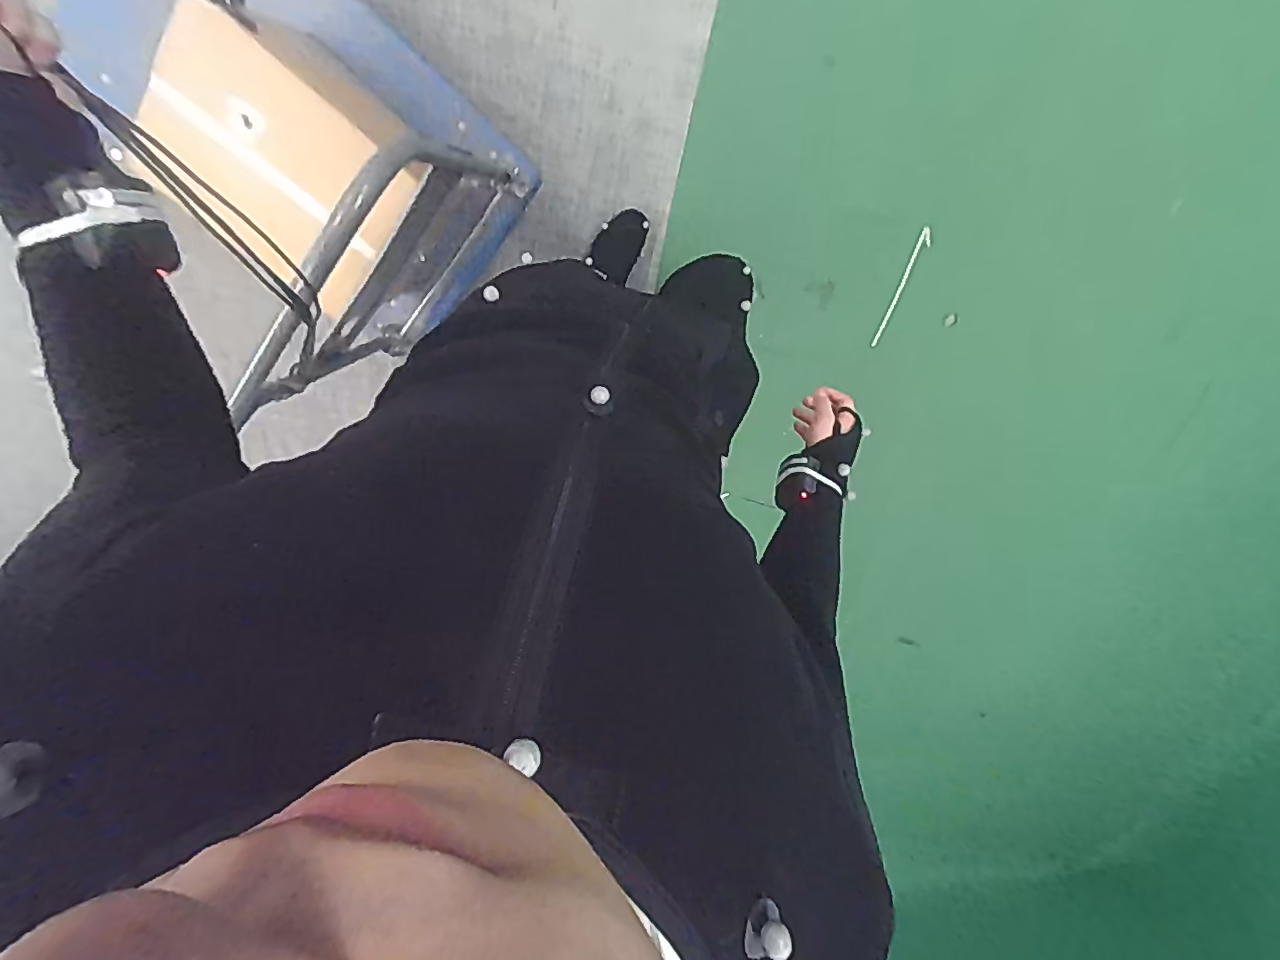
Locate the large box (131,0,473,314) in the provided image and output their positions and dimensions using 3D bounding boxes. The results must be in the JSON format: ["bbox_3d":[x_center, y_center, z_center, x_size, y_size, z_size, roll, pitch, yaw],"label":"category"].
[{"bbox_3d":[-0.607,-0.596,1.041,0.408,0.320,0.320,38,113,-18],"label":"large box"}]
